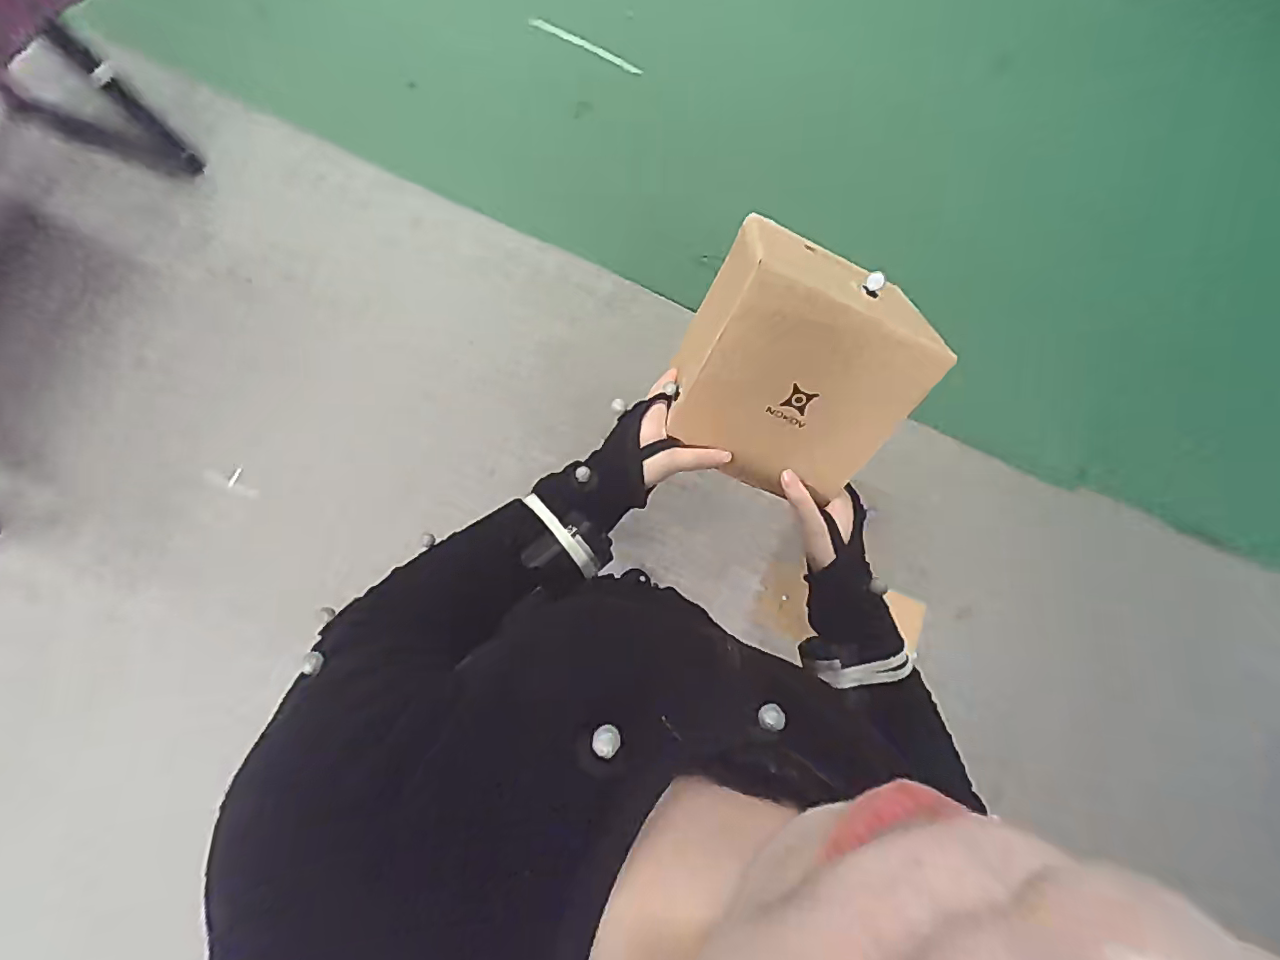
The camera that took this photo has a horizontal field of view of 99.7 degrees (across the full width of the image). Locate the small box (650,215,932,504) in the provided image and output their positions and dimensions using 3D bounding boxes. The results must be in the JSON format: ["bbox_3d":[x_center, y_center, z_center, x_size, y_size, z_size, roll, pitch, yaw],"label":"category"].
[{"bbox_3d":[0.121,-0.115,0.501,0.168,0.179,0.176,21,39,-8],"label":"small box"}]

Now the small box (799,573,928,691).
[{"bbox_3d":[0.452,0.306,1.124,0.168,0.176,0.179,23,81,-1],"label":"small box"}]

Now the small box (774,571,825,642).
[{"bbox_3d":[0.447,0.321,1.288,0.179,0.176,0.168,21,81,-1],"label":"small box"}]
